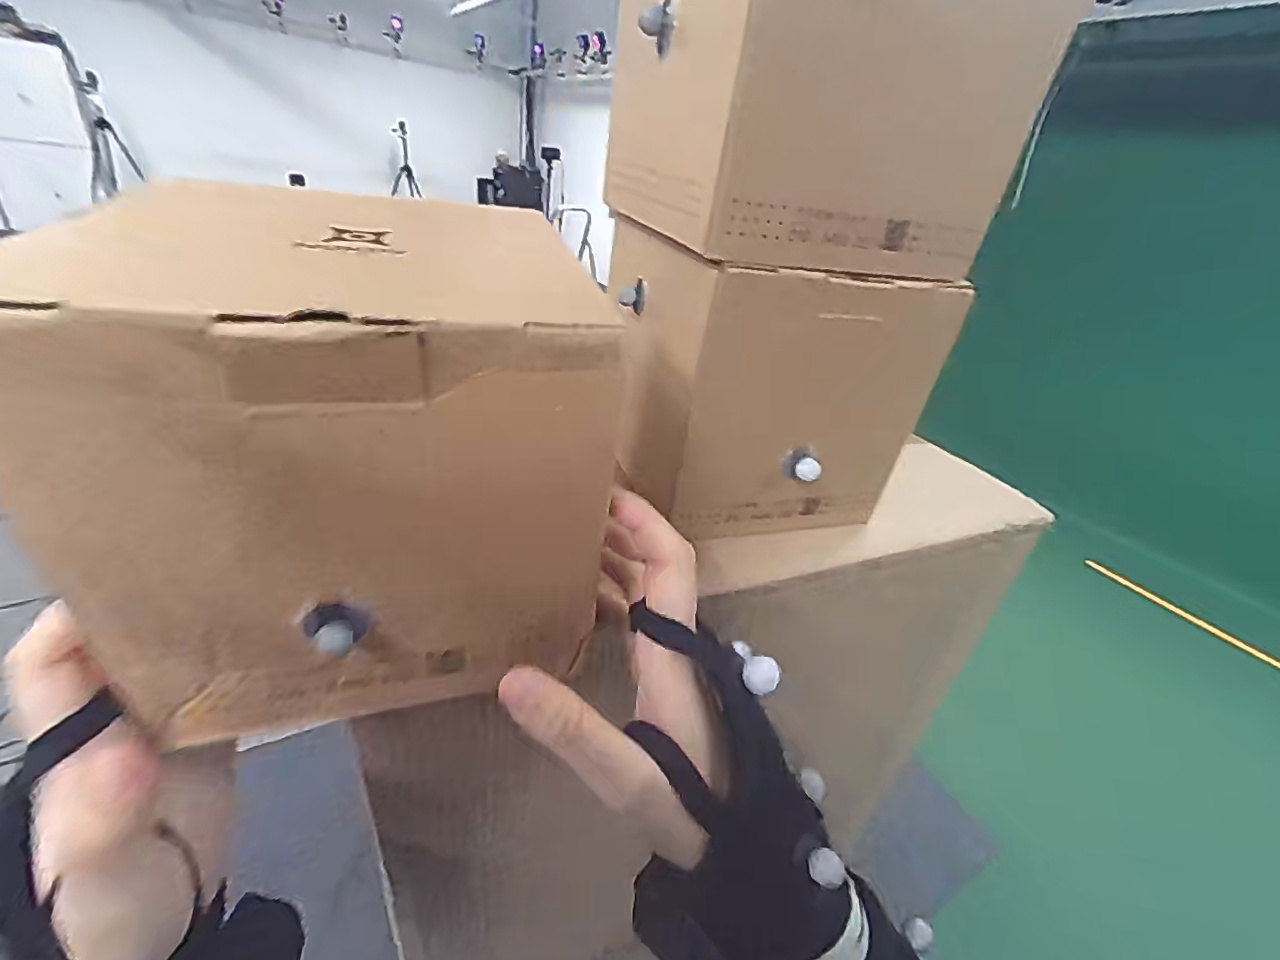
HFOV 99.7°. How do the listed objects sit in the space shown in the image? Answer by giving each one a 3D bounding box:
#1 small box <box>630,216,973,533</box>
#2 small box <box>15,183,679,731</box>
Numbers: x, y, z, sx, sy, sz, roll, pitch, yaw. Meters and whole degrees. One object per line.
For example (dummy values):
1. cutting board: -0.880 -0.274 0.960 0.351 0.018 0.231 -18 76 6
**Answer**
1. small box: 0.085 -0.081 0.402 0.168 0.176 0.179 -4 35 -20
2. small box: -0.102 -0.020 0.253 0.168 0.176 0.179 -3 37 -20
